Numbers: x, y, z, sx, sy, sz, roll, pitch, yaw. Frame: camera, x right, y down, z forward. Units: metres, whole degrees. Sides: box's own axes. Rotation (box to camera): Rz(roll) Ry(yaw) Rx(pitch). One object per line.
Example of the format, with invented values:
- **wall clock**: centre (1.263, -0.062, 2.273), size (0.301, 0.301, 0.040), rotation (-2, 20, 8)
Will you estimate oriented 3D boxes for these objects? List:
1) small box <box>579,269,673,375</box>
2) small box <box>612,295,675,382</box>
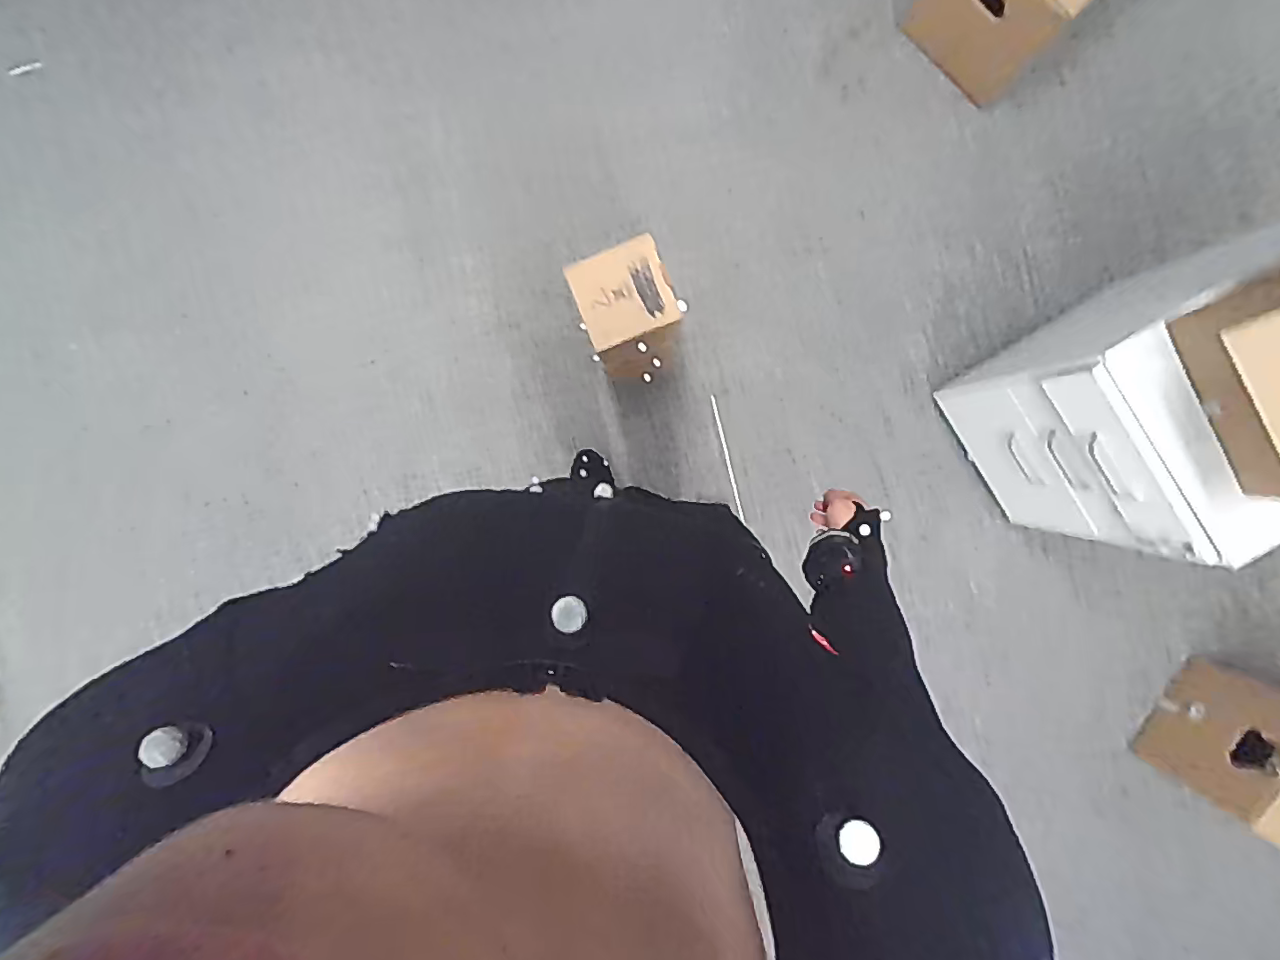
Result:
- **small box**: centre (-0.026, -0.349, 1.241), size (0.168, 0.176, 0.179), rotation (-19, 91, 2)
- **small box**: centre (-0.009, -0.361, 1.403), size (0.168, 0.176, 0.179), rotation (-16, 92, 3)
